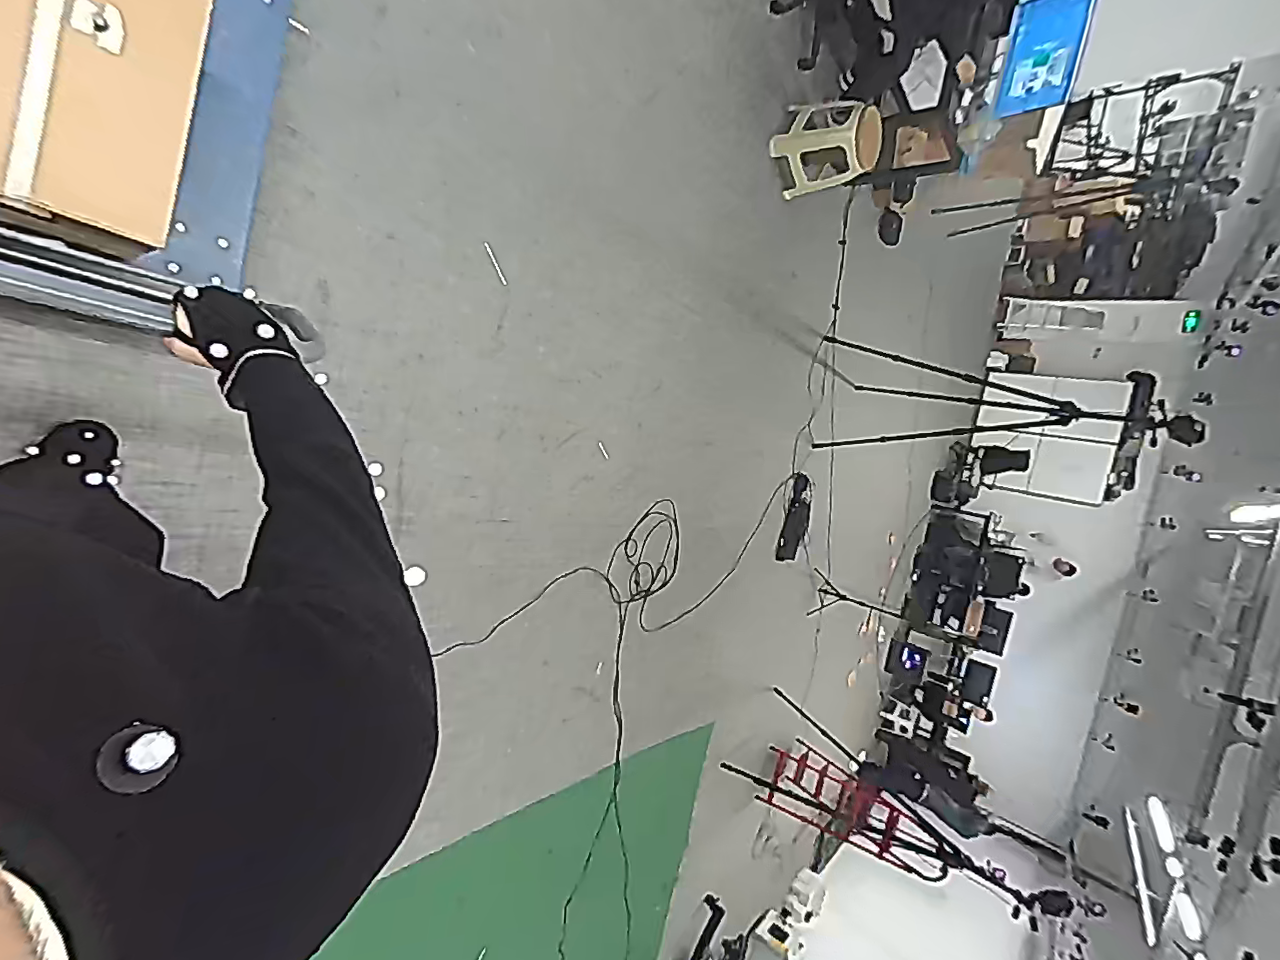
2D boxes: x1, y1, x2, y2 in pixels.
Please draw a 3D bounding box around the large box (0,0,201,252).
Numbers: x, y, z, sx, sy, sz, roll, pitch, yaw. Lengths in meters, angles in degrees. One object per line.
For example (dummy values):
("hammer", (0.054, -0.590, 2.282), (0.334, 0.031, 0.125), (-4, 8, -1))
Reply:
("large box", (-0.908, -0.607, 0.807), (0.320, 0.320, 0.408), (9, 94, -51))
